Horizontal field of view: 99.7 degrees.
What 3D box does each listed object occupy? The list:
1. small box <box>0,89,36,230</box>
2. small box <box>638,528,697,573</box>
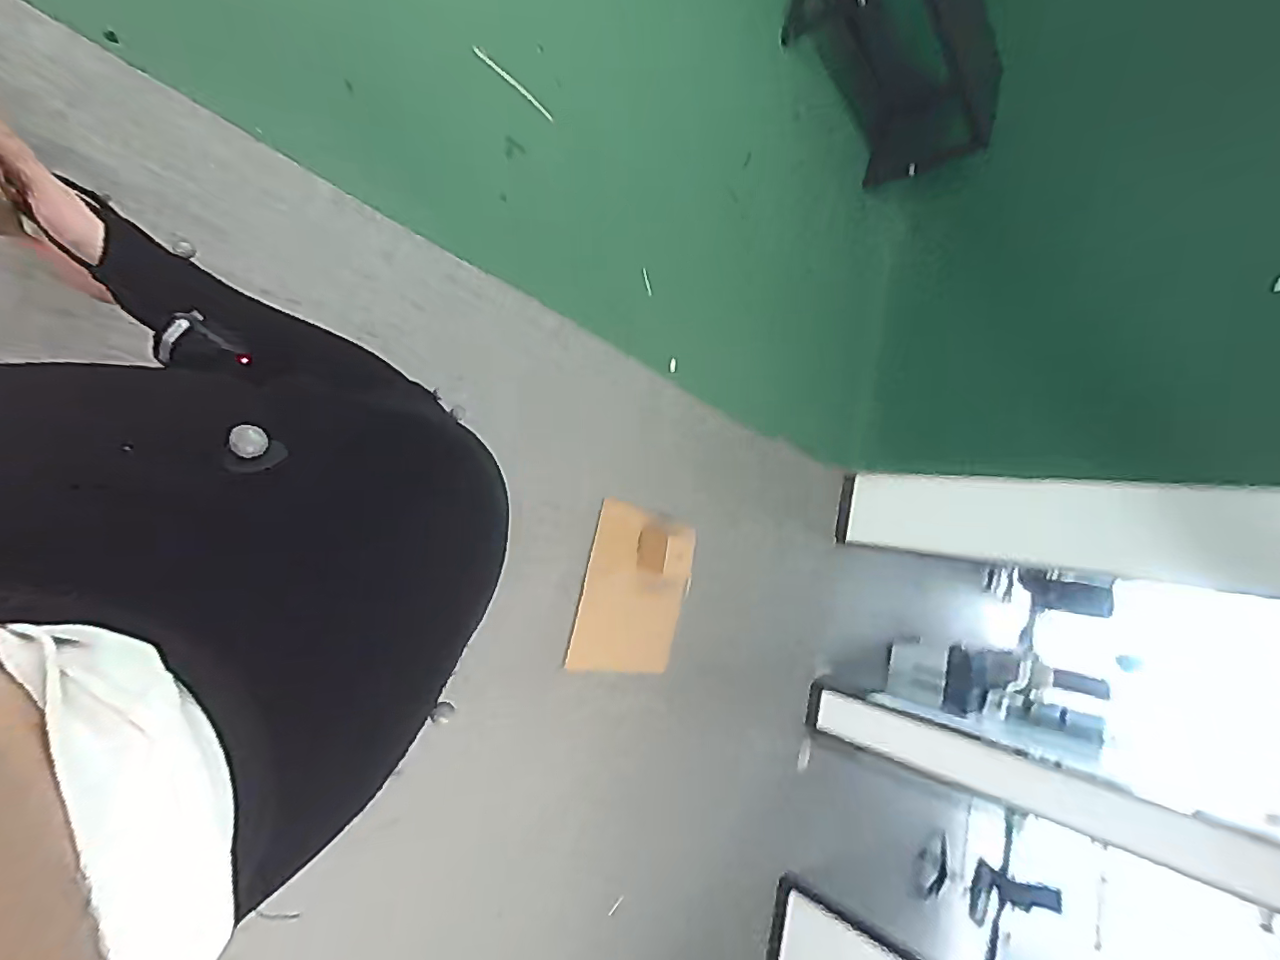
[{"bbox_3d":[-0.545,-0.276,0.354,0.168,0.176,0.179,-16,107,-41],"label":"small box"},{"bbox_3d":[0.117,0.301,2.327,0.179,0.176,0.168,12,85,-44],"label":"small box"}]
